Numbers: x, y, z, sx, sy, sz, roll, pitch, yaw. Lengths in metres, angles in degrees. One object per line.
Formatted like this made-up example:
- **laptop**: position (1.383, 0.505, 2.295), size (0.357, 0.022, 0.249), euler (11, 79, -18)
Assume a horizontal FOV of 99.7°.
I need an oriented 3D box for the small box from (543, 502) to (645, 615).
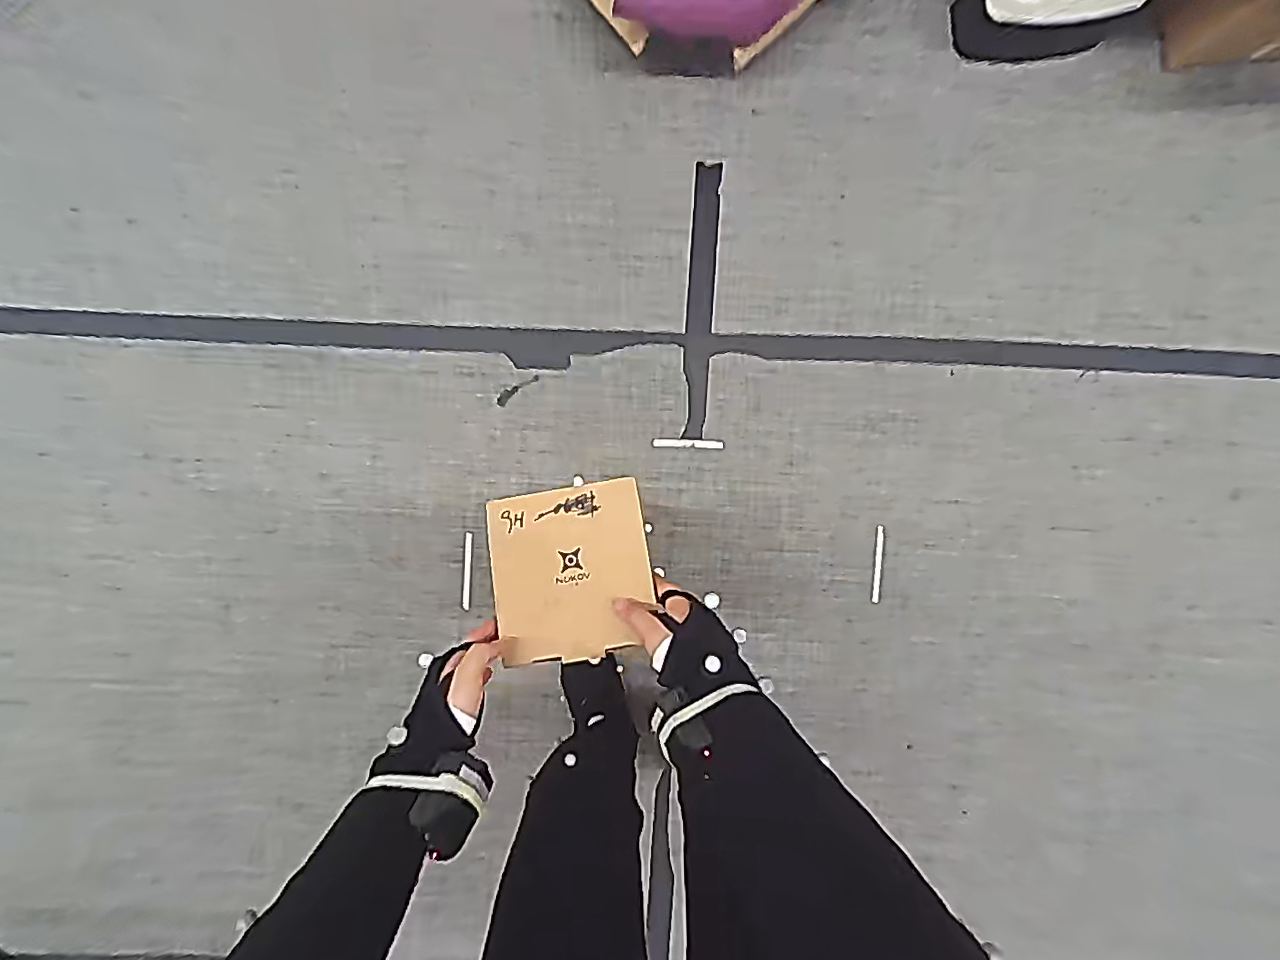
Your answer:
- **small box**: position (-0.078, 0.132, 0.970), size (0.168, 0.176, 0.179), euler (1, 93, 0)
